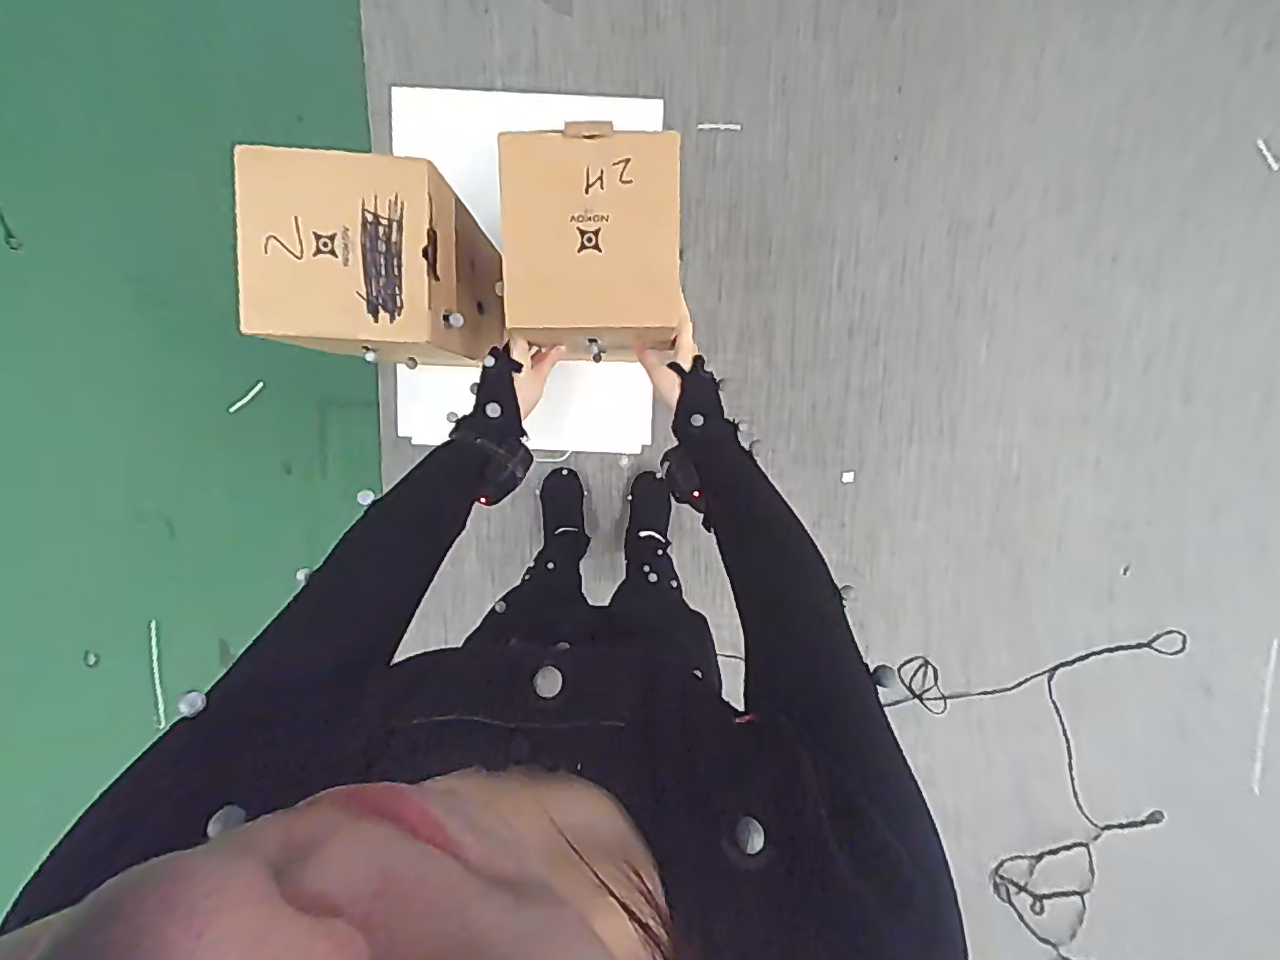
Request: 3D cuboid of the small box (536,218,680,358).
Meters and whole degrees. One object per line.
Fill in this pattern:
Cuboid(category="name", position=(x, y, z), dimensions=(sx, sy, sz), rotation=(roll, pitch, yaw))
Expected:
Cuboid(category="small box", position=(-0.042, -0.261, 0.746), dimensions=(0.179, 0.176, 0.168), rotation=(2, 98, -1))

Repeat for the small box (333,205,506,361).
Cuboid(category="small box", position=(-0.290, -0.255, 0.741), dimensions=(0.179, 0.176, 0.168), rotation=(2, 98, -4))

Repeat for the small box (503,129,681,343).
Cuboid(category="small box", position=(-0.044, -0.244, 0.582), dimensions=(0.168, 0.176, 0.179), rotation=(0, 97, -1))
